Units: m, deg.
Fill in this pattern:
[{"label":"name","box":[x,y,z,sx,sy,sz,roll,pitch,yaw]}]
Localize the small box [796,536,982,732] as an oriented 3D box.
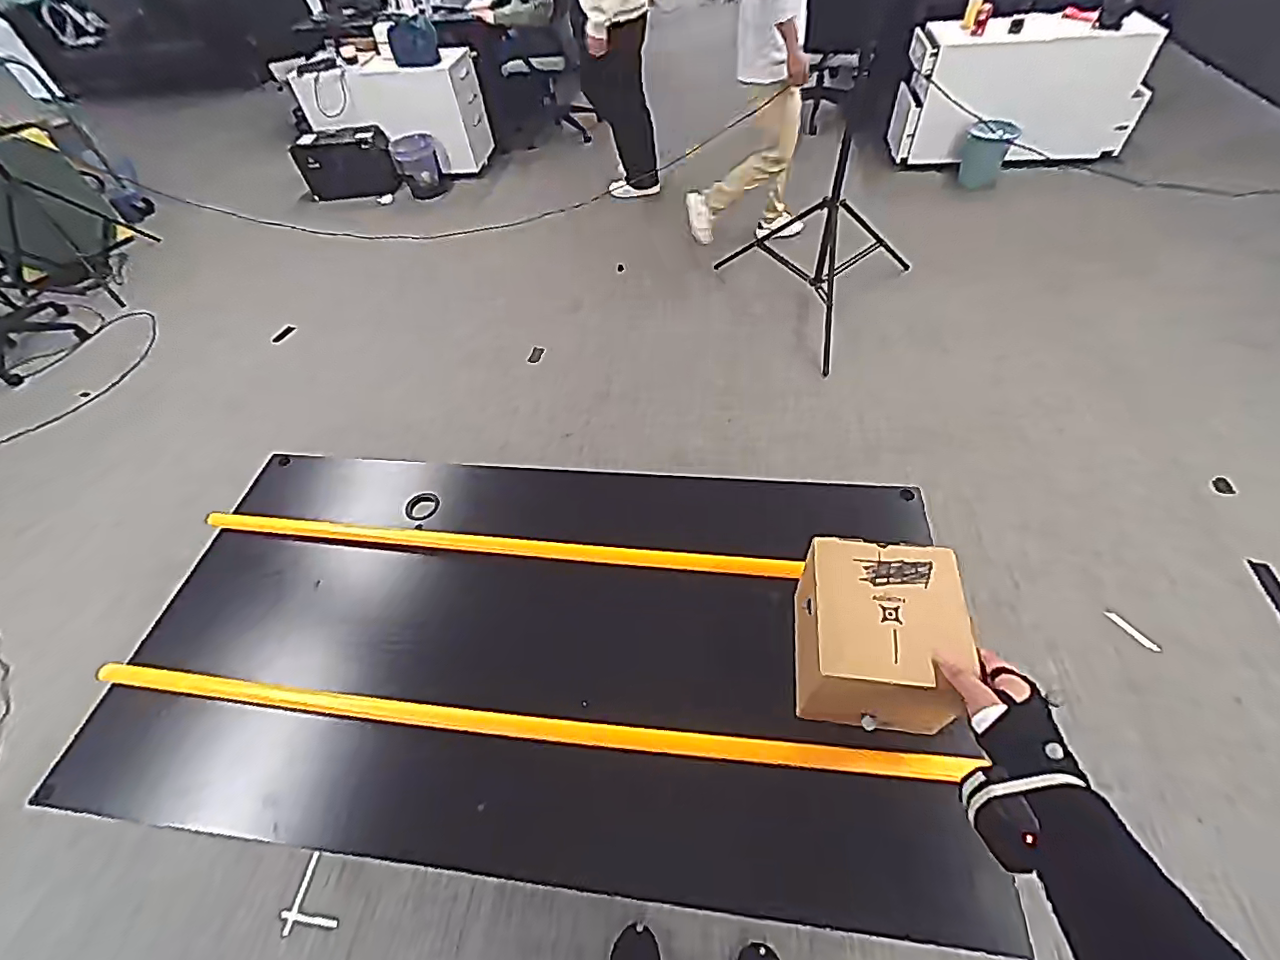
[{"label":"small box","box":[0.292,0.195,0.680,0.168,0.176,0.179,4,53,10]}]
